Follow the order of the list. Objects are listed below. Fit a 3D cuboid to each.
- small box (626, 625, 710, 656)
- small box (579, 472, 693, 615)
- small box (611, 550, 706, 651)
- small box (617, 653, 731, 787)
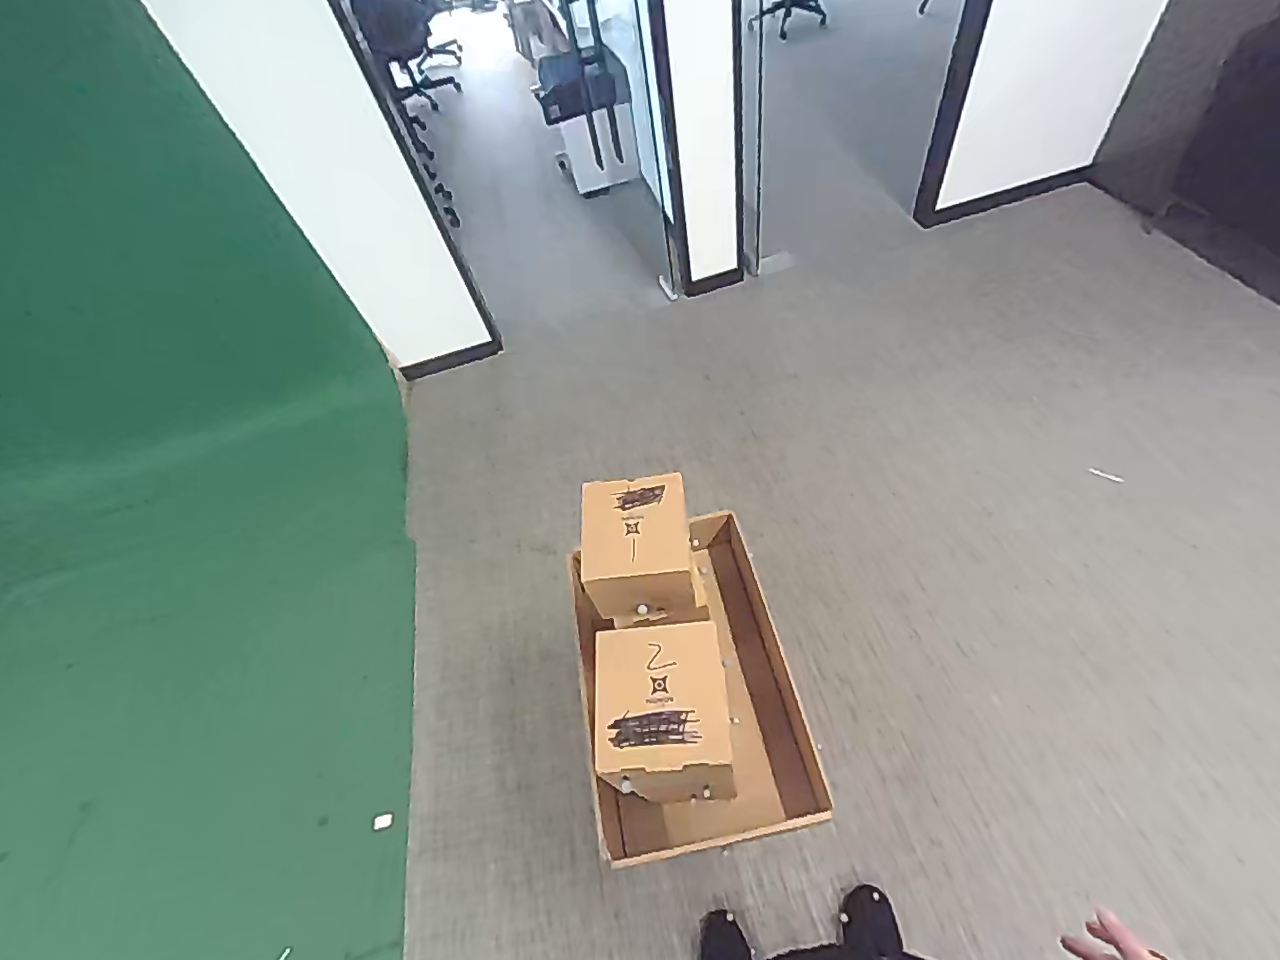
[{"bbox_3d":[0.050,0.293,1.171,0.168,0.176,0.179,-15,55,1],"label":"small box"},{"bbox_3d":[-0.003,0.110,0.906,0.168,0.176,0.179,-7,56,5],"label":"small box"},{"bbox_3d":[0.025,0.204,1.037,0.168,0.176,0.179,-14,56,0],"label":"small box"},{"bbox_3d":[0.060,0.399,0.887,0.168,0.176,0.179,-5,53,6],"label":"small box"}]
